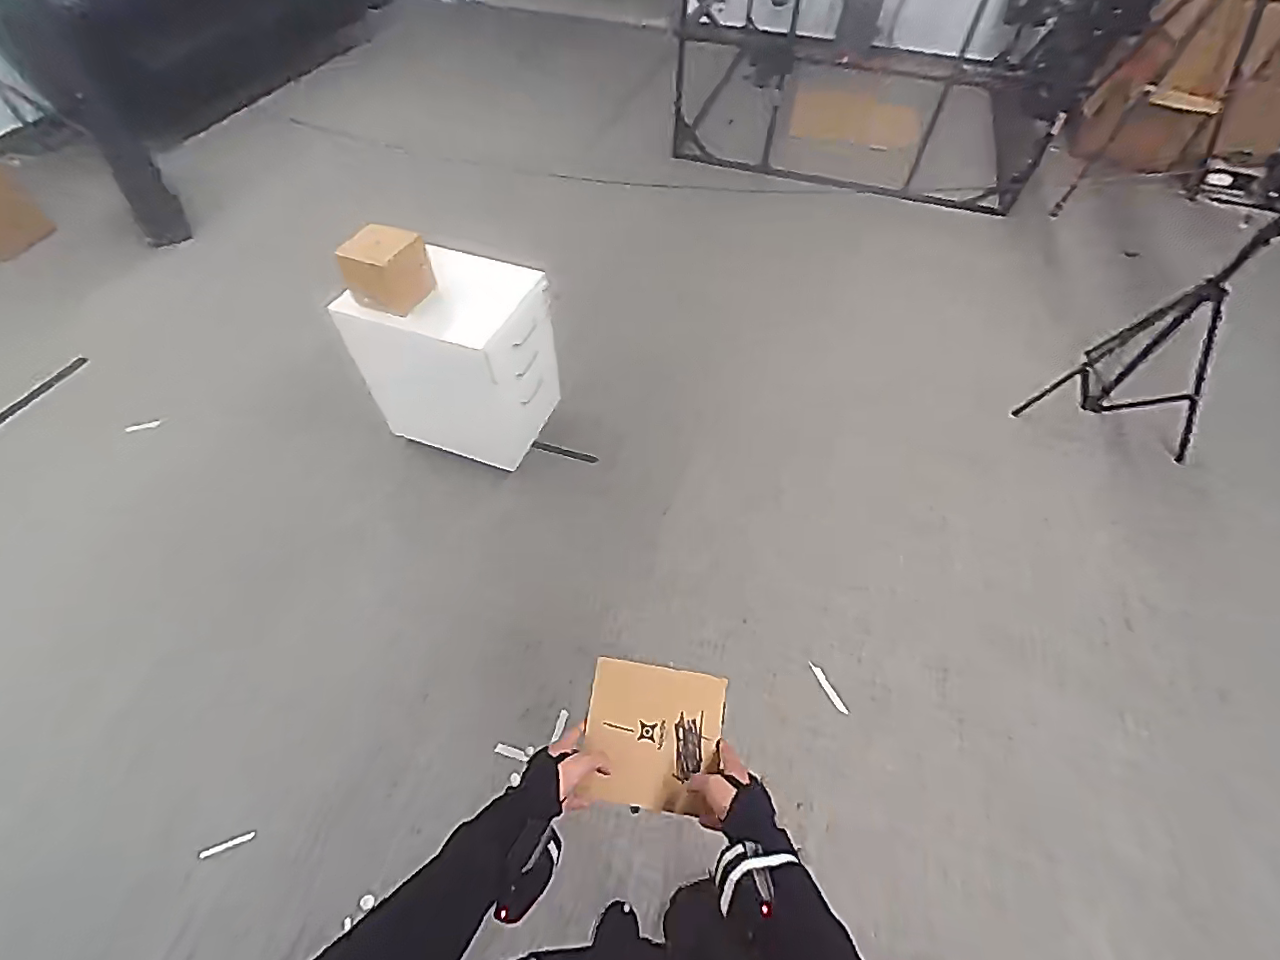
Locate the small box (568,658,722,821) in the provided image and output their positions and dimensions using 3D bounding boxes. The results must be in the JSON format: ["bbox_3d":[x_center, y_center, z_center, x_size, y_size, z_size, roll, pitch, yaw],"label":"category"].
[{"bbox_3d":[0.008,0.354,0.752,0.179,0.176,0.168,8,65,2],"label":"small box"}]

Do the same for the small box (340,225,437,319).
[{"bbox_3d":[-0.705,-0.593,1.544,0.168,0.176,0.179,18,55,12],"label":"small box"}]
